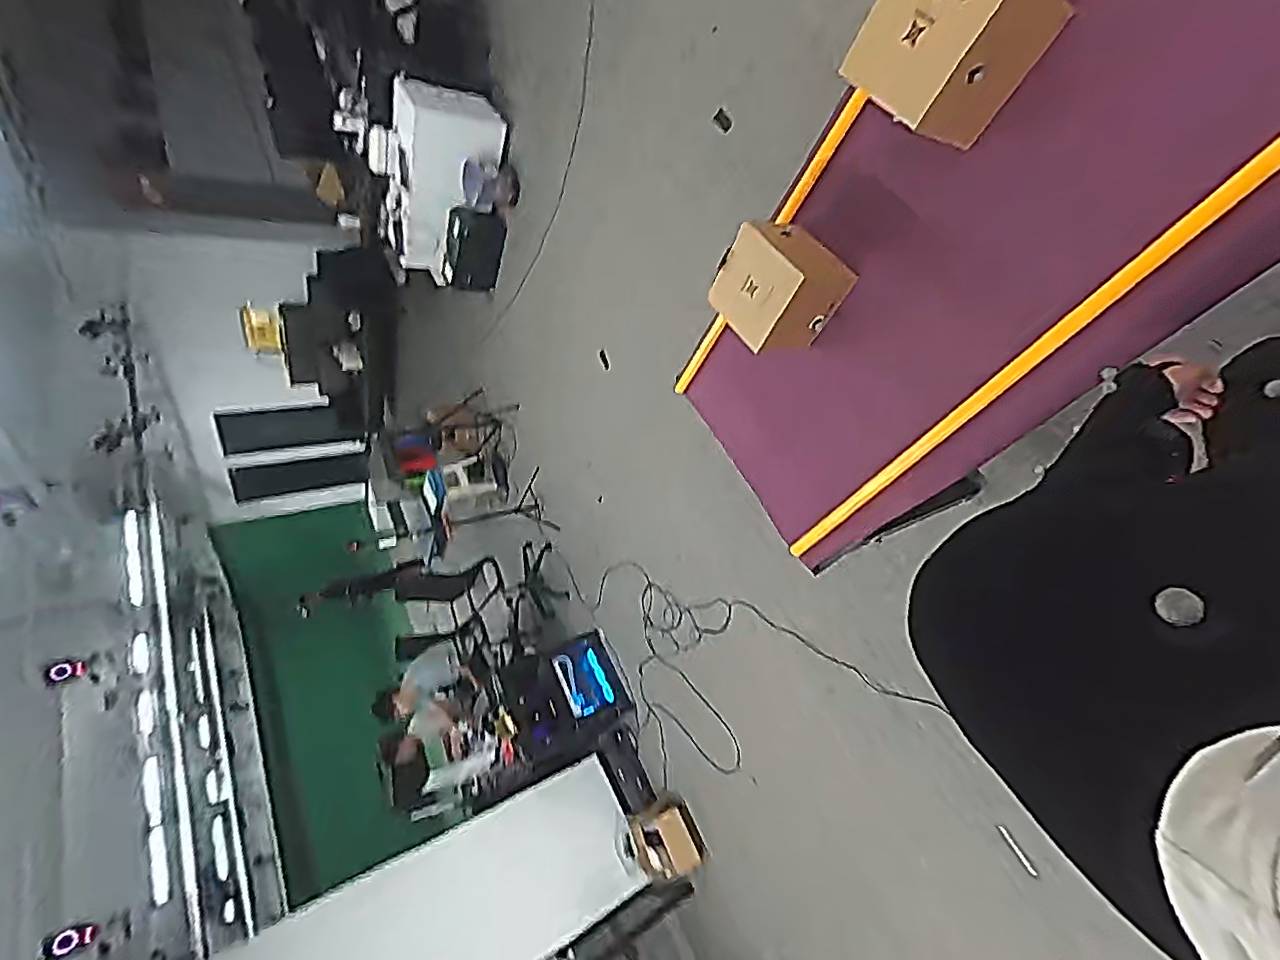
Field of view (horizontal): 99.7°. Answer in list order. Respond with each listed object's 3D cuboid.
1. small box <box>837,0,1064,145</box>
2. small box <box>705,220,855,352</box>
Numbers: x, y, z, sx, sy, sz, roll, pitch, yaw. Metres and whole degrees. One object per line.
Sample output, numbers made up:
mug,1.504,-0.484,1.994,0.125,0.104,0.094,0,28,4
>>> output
small box,0.418,-0.593,0.738,0.168,0.176,0.179,58,141,23
small box,0.263,-0.364,1.029,0.179,0.176,0.168,57,141,26
